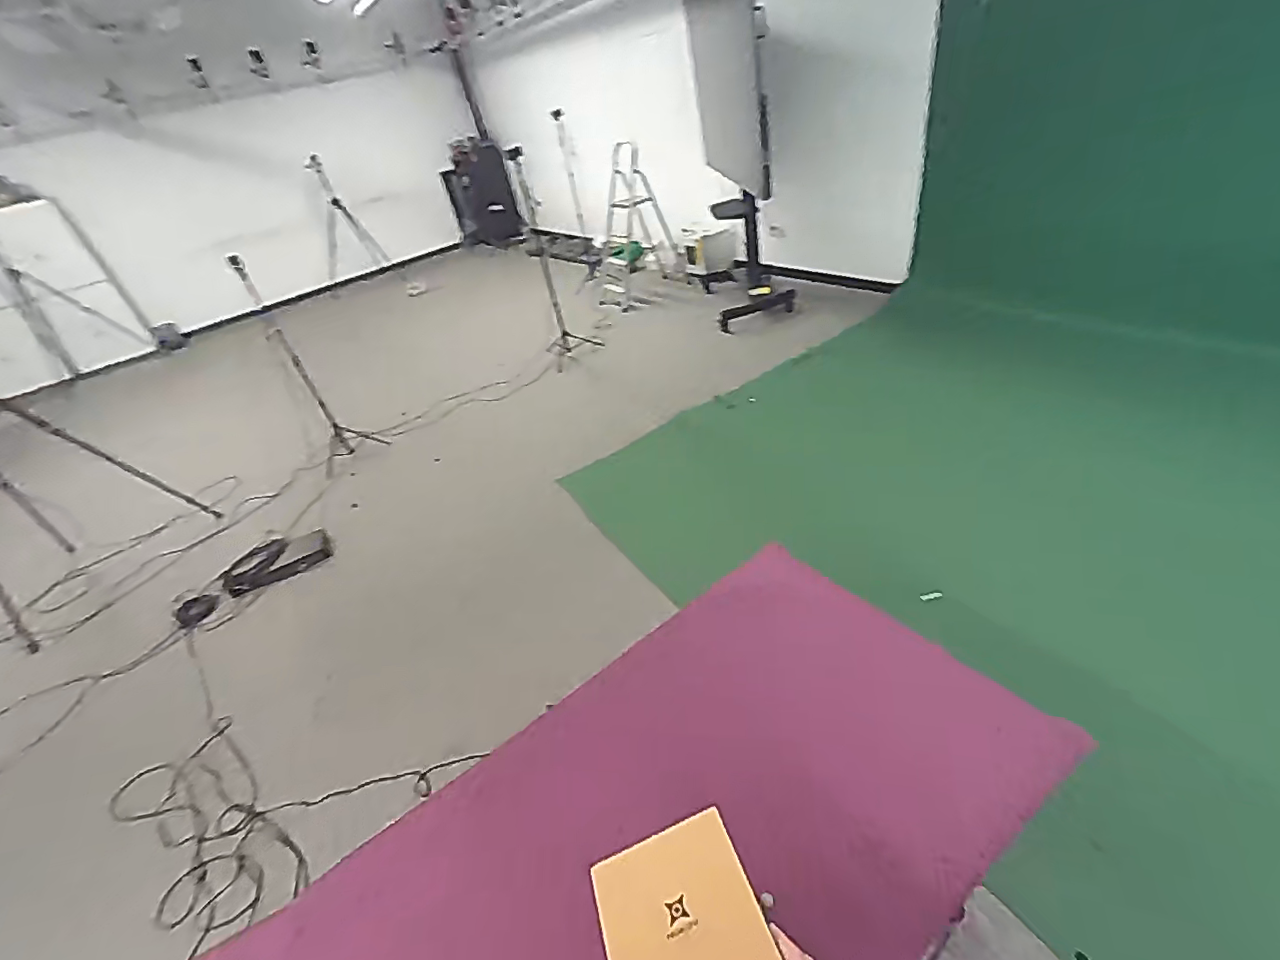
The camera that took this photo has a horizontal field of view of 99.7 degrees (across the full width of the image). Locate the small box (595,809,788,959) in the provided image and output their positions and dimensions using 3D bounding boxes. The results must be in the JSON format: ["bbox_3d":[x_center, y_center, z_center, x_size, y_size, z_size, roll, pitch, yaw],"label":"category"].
[{"bbox_3d":[0.065,0.520,0.596,0.168,0.176,0.179,-21,28,-8],"label":"small box"}]
